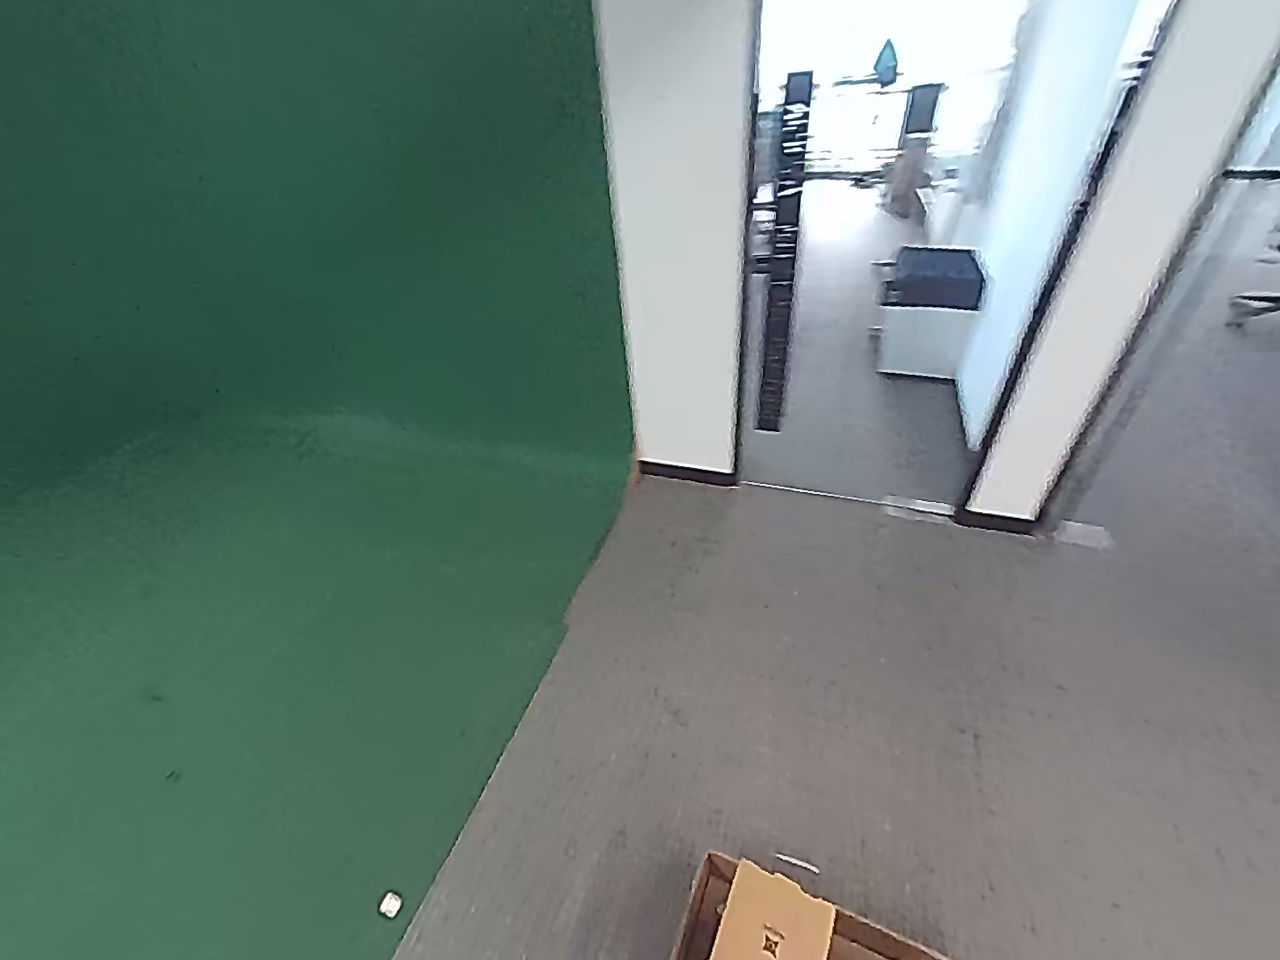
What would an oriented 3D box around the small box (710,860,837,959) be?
[{"bbox_3d":[0.211,0.789,0.895,0.168,0.176,0.179,16,41,22],"label":"small box"}]
